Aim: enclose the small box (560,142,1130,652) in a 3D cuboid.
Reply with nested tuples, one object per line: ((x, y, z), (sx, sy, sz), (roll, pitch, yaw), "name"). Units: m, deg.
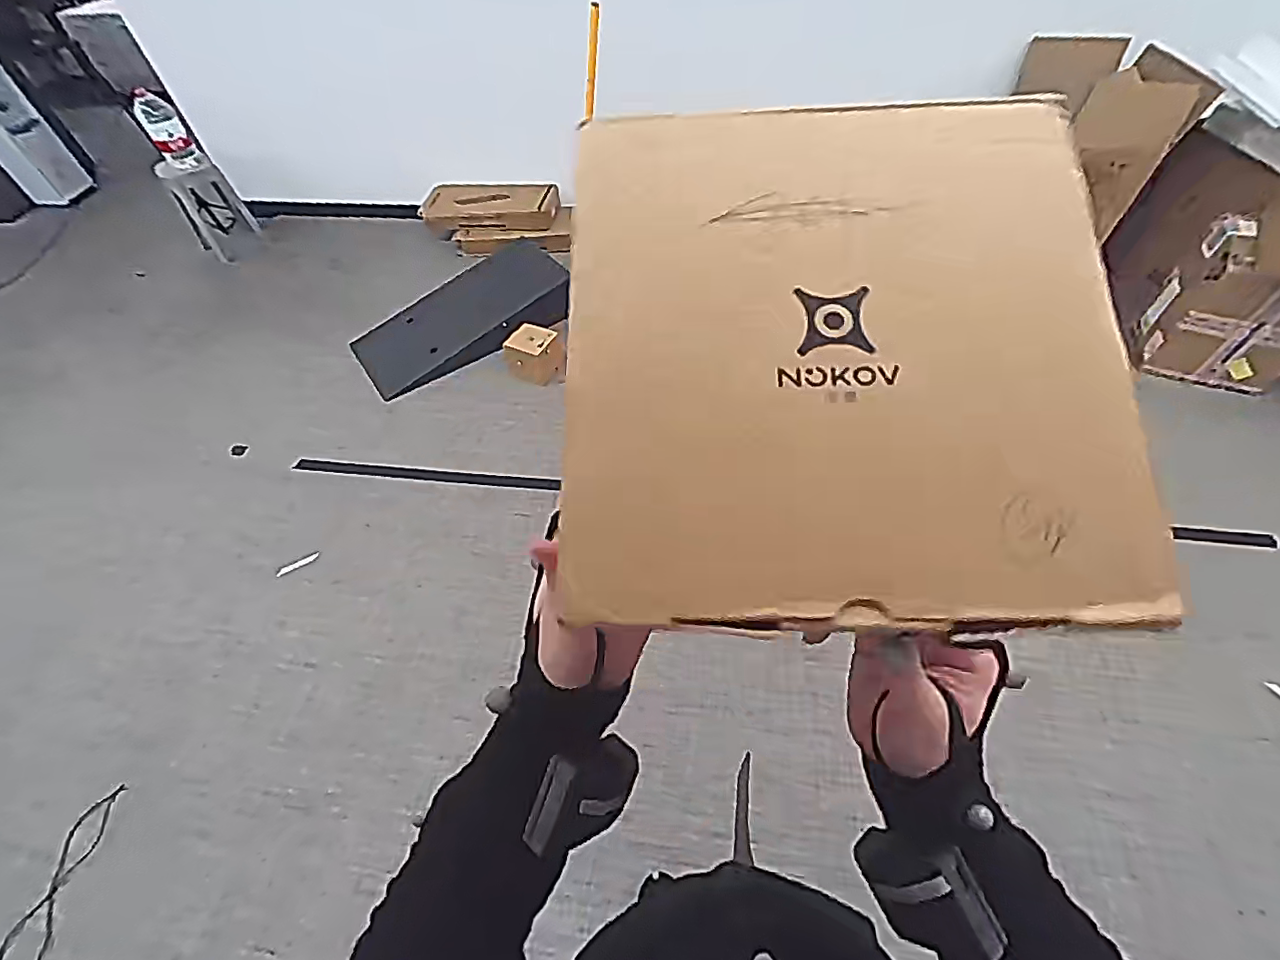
((0.059, -0.015, 0.256), (0.168, 0.176, 0.179), (-3, 73, 2), "small box")
